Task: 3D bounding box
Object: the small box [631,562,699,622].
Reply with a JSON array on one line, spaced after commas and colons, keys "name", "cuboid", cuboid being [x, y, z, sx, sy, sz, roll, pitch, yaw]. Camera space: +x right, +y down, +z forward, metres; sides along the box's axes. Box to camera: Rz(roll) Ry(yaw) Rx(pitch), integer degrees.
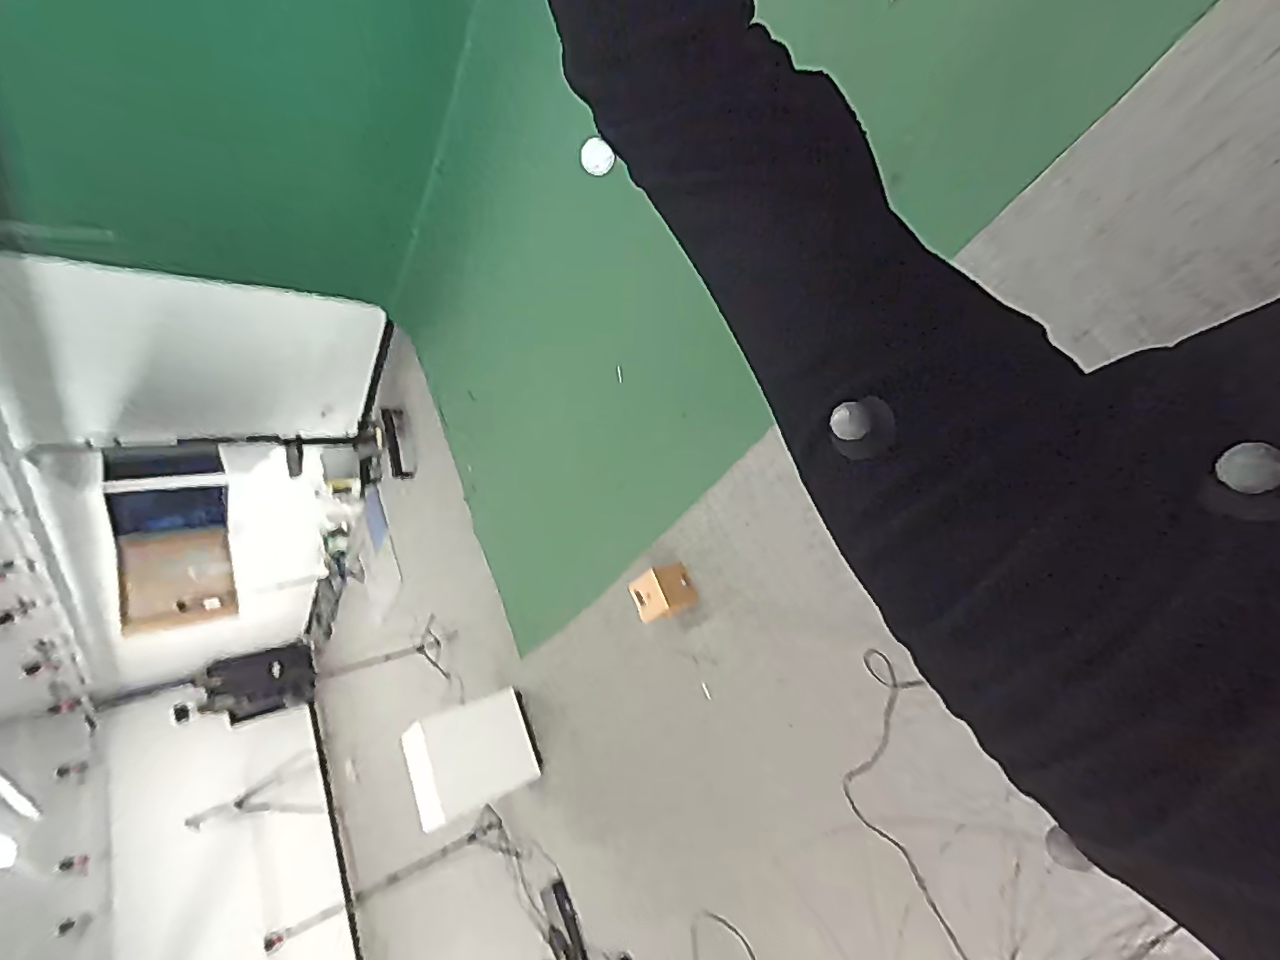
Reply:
[{"name": "small box", "cuboid": [0.098, 0.440, 2.127, 0.179, 0.176, 0.168, -44, 62, 40]}]
